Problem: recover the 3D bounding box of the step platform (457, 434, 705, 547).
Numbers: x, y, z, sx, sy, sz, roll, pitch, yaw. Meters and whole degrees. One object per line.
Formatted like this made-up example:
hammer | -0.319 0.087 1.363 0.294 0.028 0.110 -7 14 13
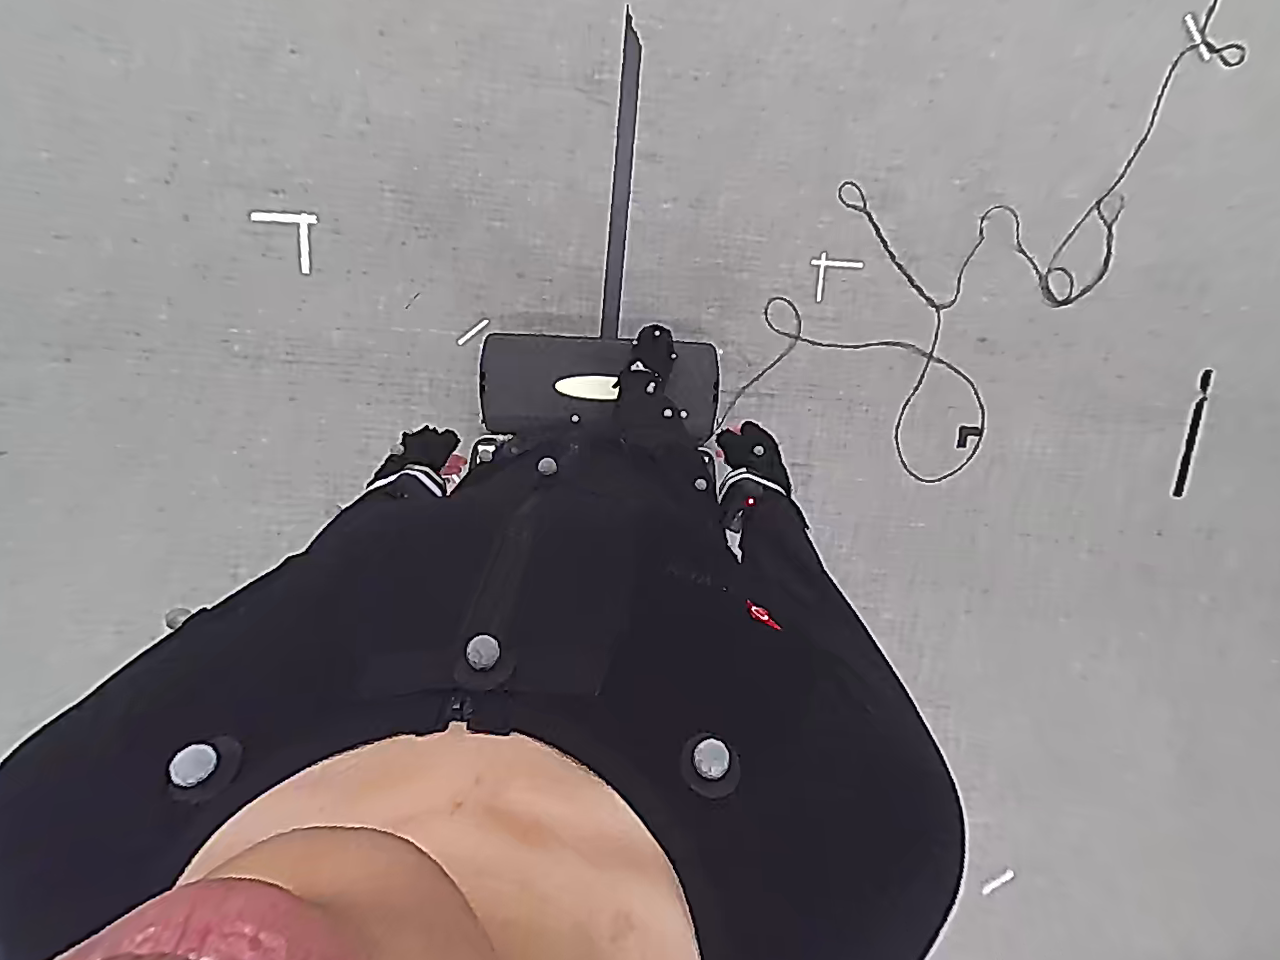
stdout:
step platform | -0.159 0.027 1.534 0.684 0.204 0.286 3 98 -2
